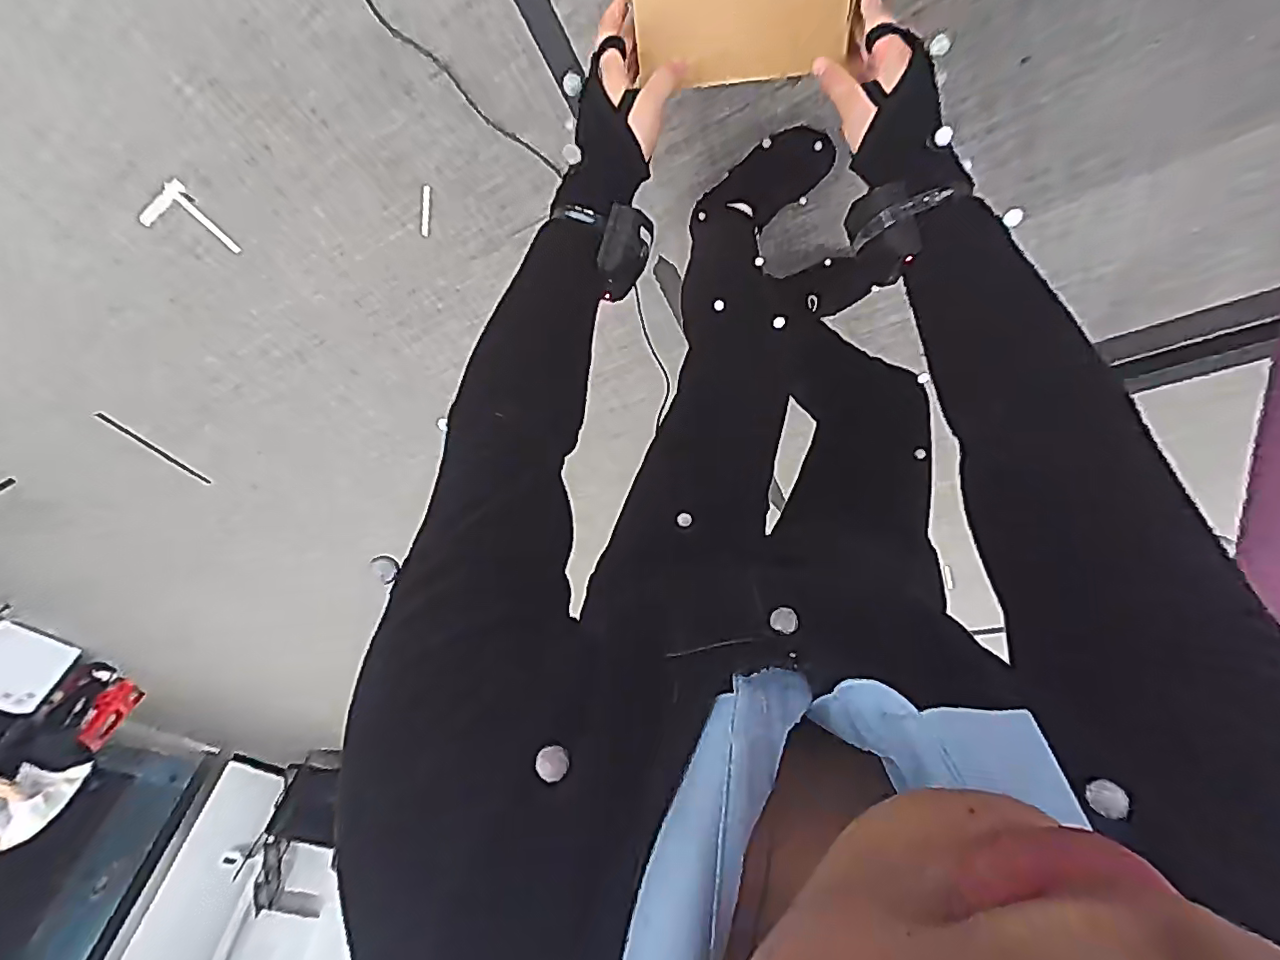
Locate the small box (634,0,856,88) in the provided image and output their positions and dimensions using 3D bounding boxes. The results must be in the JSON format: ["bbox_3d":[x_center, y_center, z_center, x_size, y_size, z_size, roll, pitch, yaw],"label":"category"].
[{"bbox_3d":[0.088,-0.460,0.457,0.179,0.176,0.168,0,140,10],"label":"small box"}]
